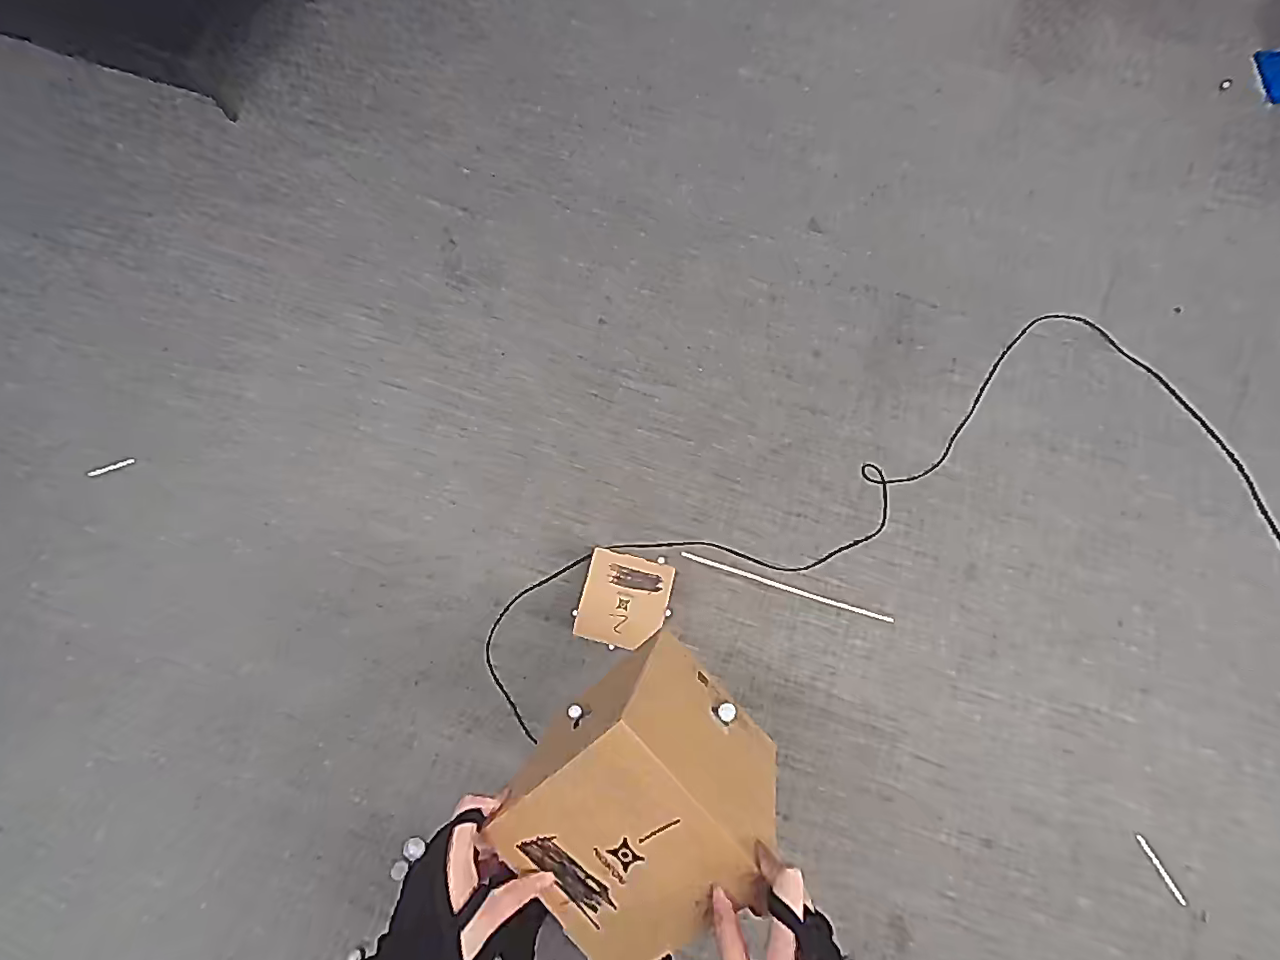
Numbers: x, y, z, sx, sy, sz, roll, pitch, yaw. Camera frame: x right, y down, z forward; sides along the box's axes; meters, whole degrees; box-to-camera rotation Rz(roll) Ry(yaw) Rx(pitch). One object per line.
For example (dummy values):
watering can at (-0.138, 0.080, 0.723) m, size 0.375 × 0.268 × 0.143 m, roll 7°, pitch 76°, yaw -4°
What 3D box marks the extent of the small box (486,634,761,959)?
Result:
small box at (0.000, 0.282, 0.508) m, size 0.168 × 0.176 × 0.179 m, roll 46°, pitch 106°, yaw 4°
